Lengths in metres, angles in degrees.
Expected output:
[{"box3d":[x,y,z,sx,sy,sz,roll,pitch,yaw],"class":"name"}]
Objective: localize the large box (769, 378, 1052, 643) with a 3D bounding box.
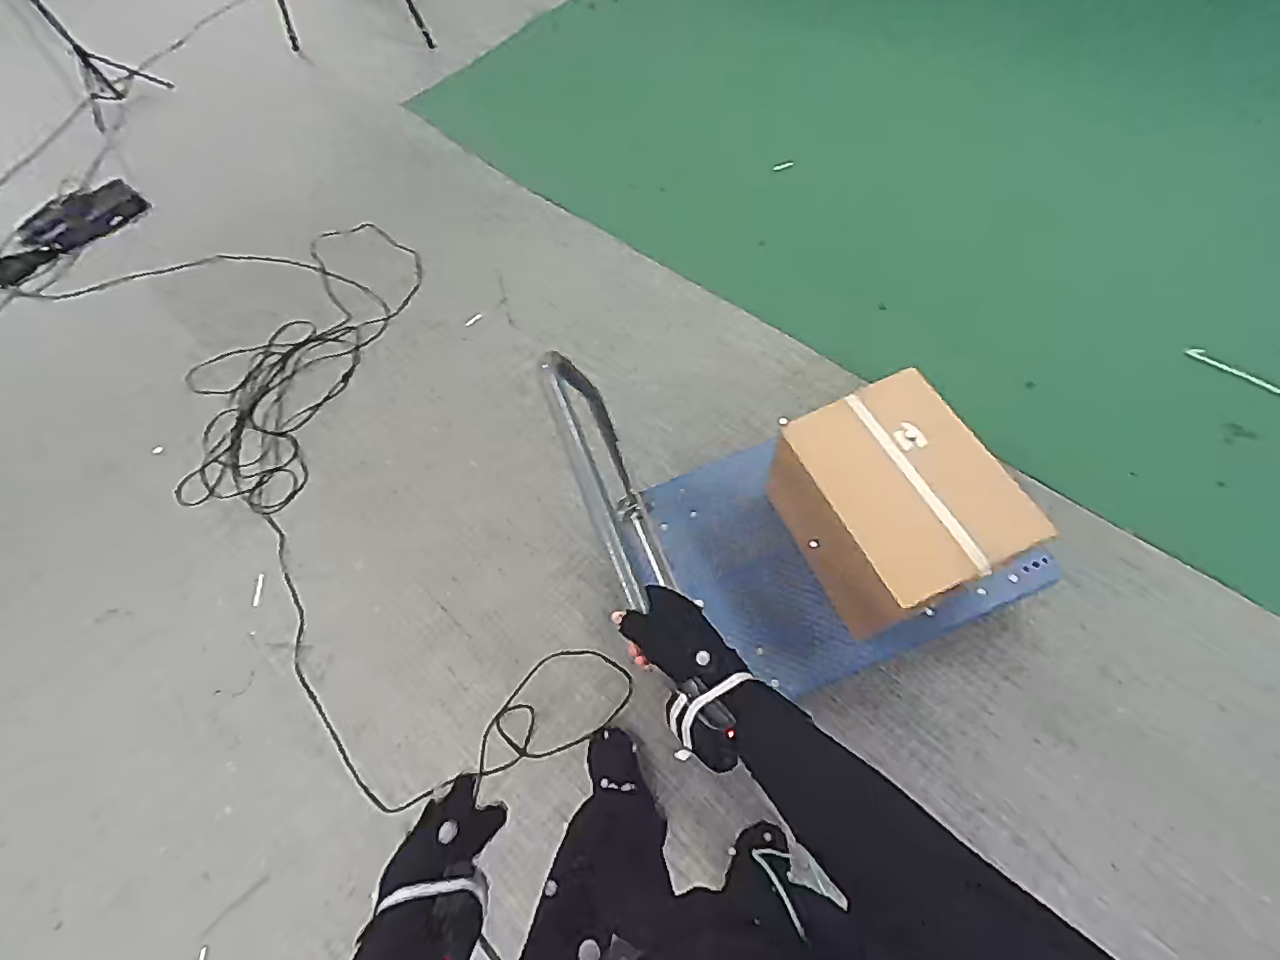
[{"box3d":[0.517,0.072,1.141,0.320,0.320,0.408,-23,62,-6],"class":"large box"}]
